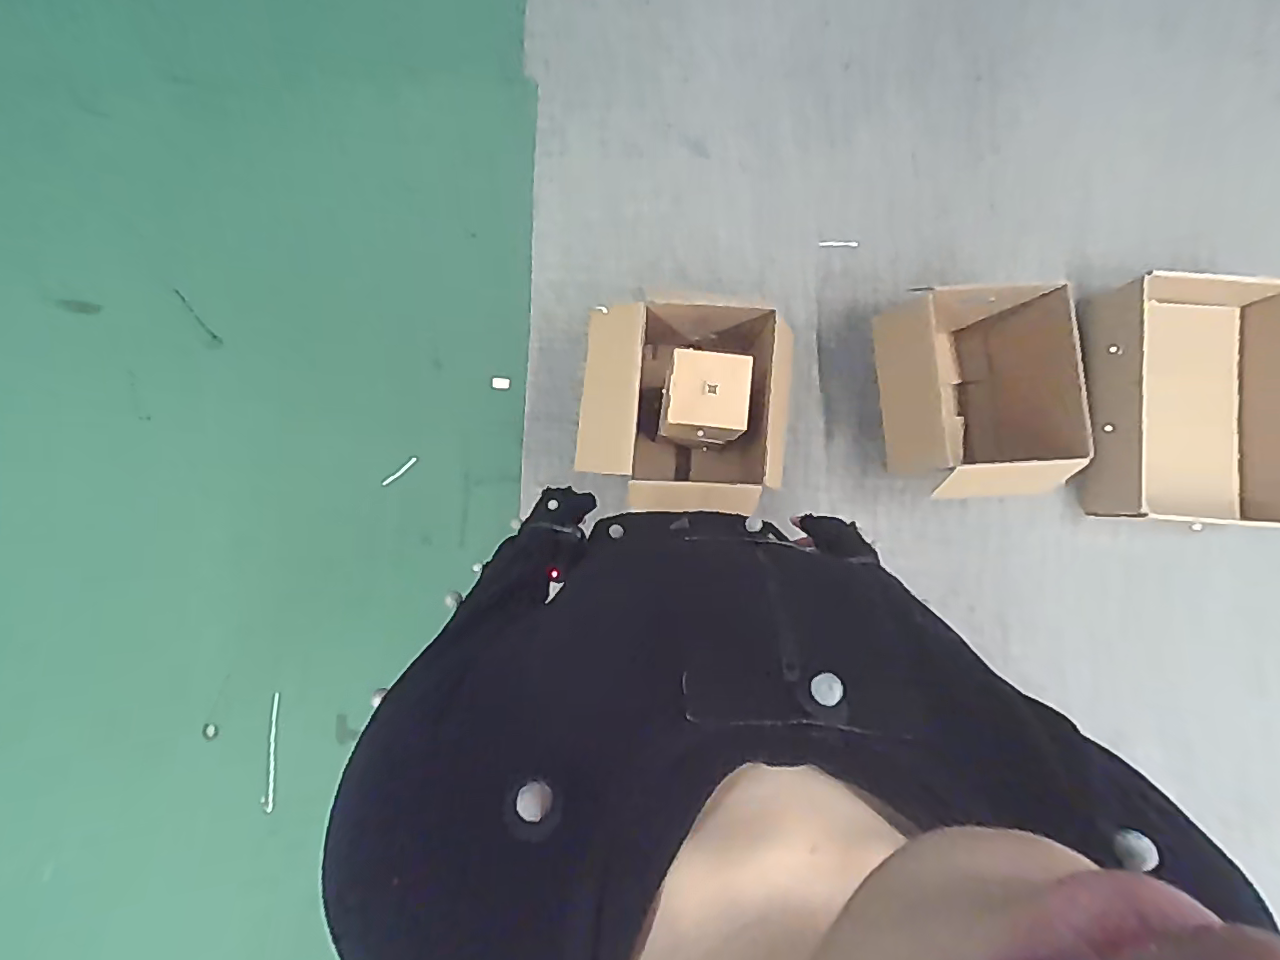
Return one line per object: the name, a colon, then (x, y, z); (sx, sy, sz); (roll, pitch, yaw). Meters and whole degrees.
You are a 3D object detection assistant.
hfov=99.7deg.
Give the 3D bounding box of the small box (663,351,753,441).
small box: (0.151, -0.187, 1.250); (0.179, 0.176, 0.168); (6, 85, 0)
